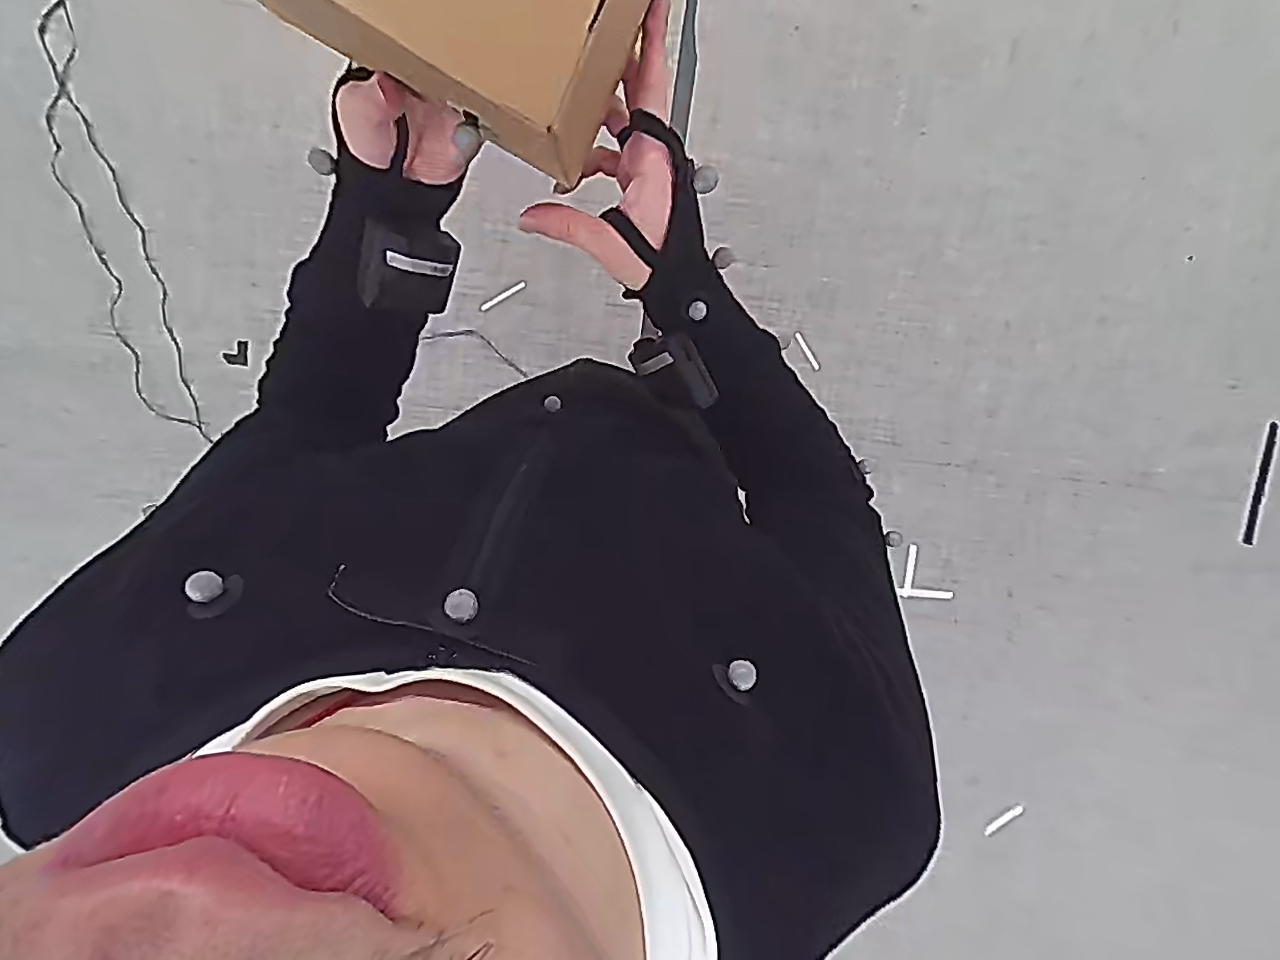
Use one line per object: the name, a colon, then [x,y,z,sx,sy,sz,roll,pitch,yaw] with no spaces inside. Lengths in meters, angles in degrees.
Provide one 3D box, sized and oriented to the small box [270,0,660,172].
small box: [-0.069,-0.254,0.220,0.179,0.176,0.168,25,107,-14]
